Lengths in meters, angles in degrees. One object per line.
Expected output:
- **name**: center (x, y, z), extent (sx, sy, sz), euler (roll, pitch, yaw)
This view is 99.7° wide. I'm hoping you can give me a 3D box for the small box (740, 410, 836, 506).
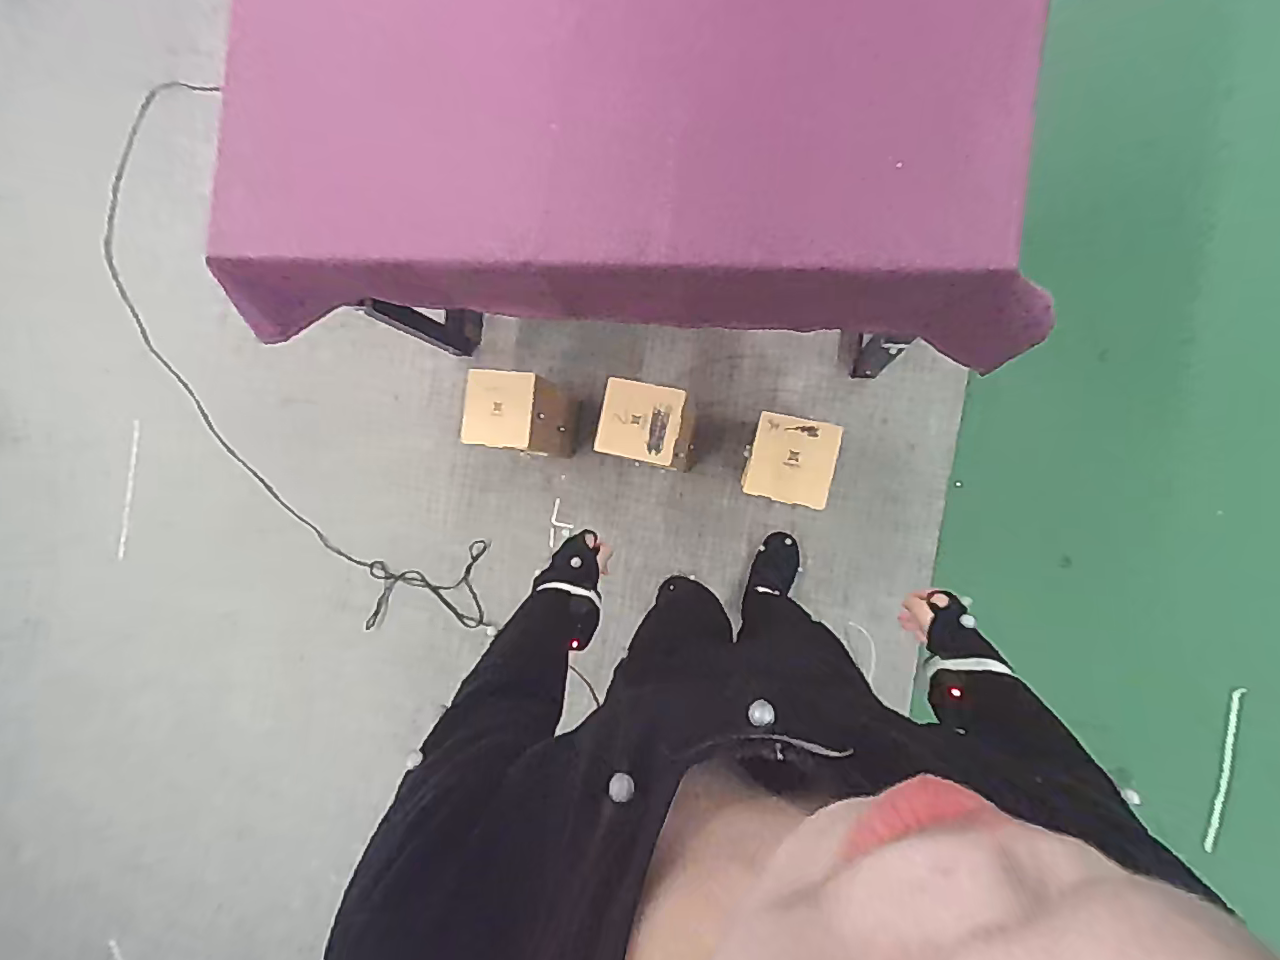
- **small box**: center (0.310, -0.049, 1.167), extent (0.168, 0.176, 0.179), euler (9, 93, 8)
